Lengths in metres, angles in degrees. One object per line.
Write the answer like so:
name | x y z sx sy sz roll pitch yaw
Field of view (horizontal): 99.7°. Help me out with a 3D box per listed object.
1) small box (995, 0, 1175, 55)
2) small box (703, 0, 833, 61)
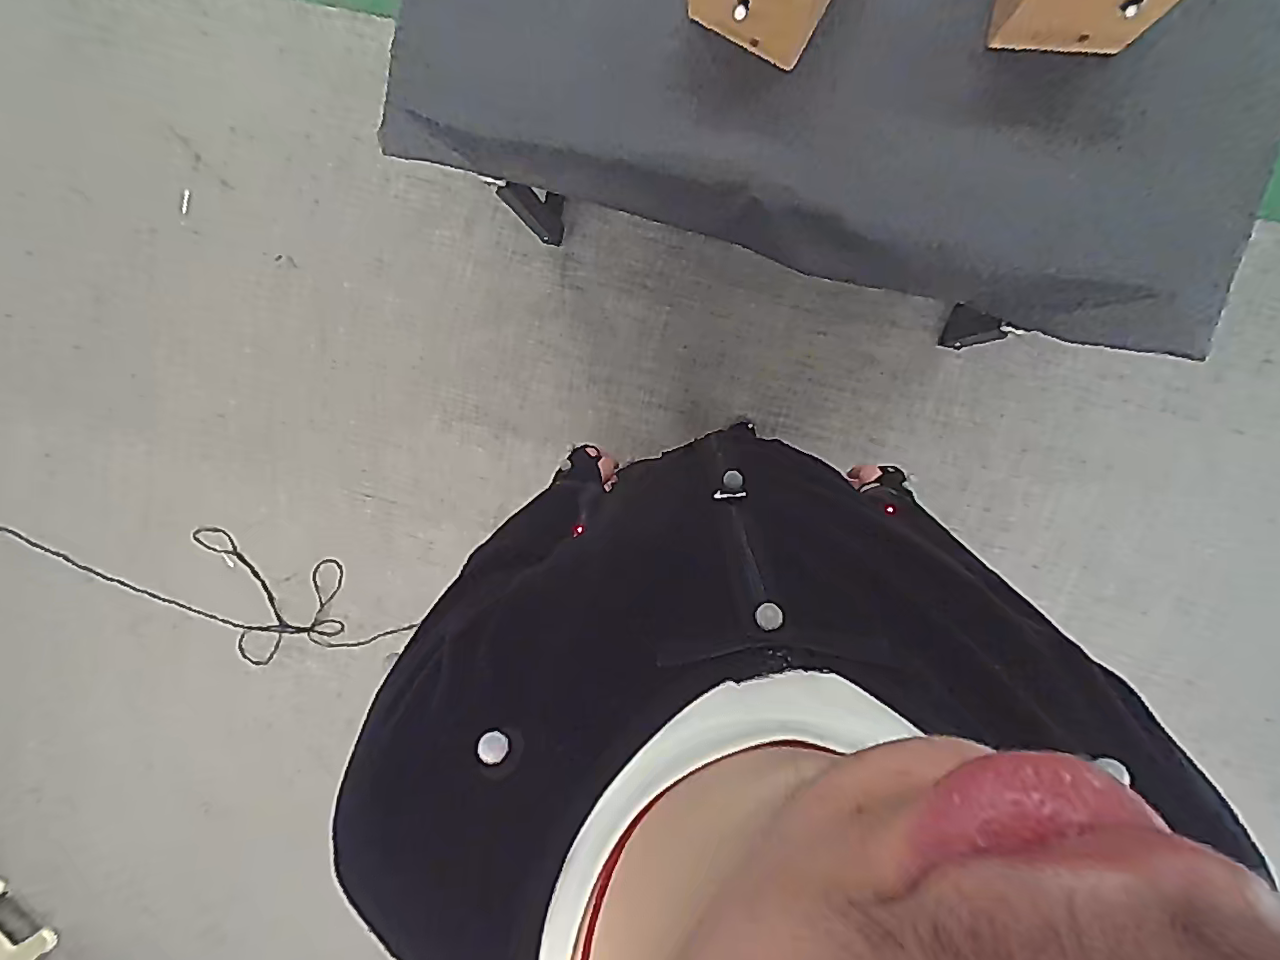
small box | 0.548 -0.637 0.623 0.168 0.176 0.179 8 97 4
small box | 0.179 -0.670 0.656 0.168 0.176 0.179 30 99 1
